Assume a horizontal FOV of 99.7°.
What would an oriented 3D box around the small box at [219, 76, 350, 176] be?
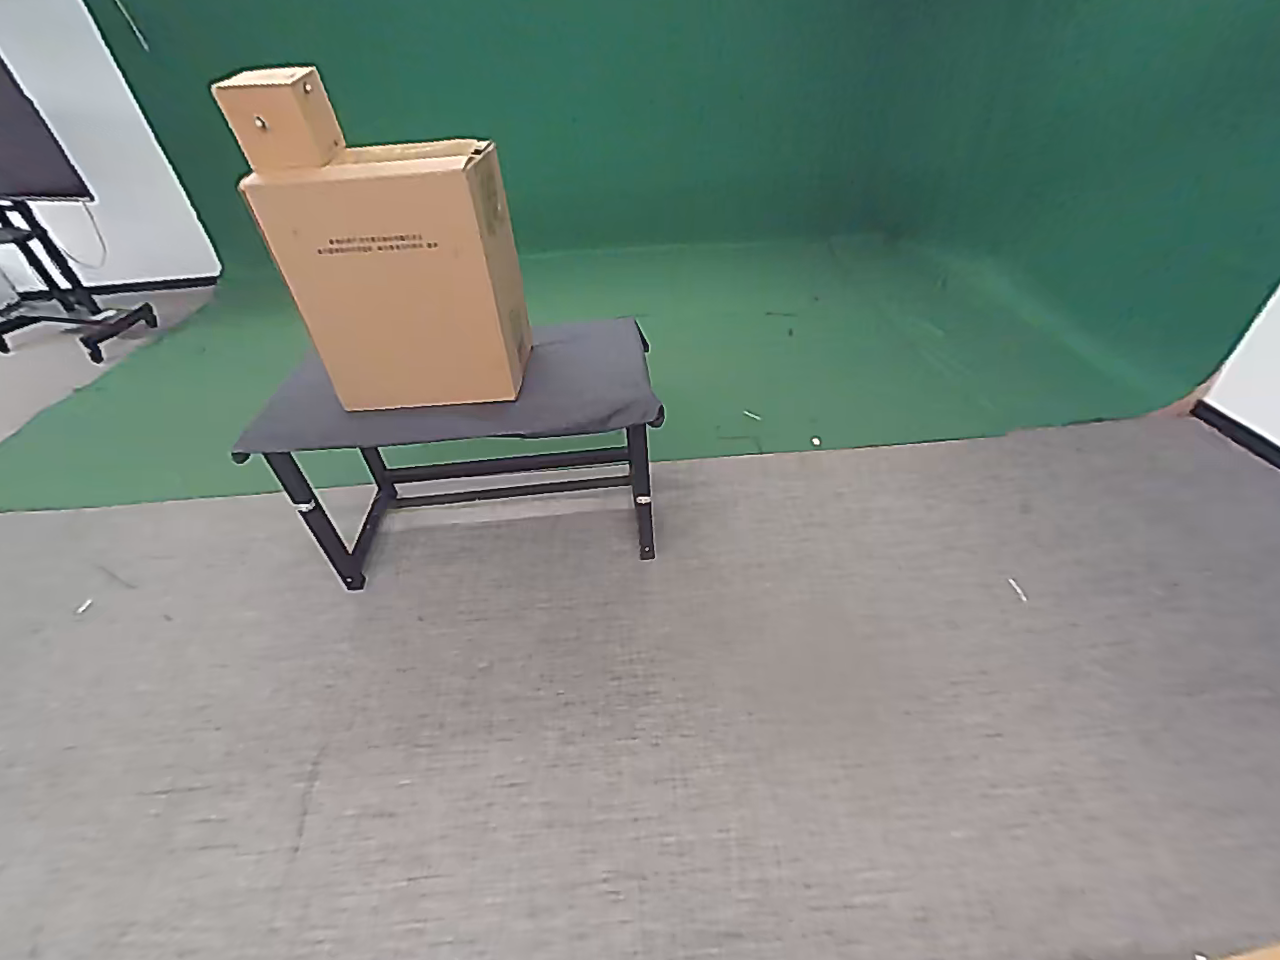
[{"bbox_3d":[-0.845,-0.851,1.306,0.179,0.176,0.168,-4,48,1],"label":"small box"}]
